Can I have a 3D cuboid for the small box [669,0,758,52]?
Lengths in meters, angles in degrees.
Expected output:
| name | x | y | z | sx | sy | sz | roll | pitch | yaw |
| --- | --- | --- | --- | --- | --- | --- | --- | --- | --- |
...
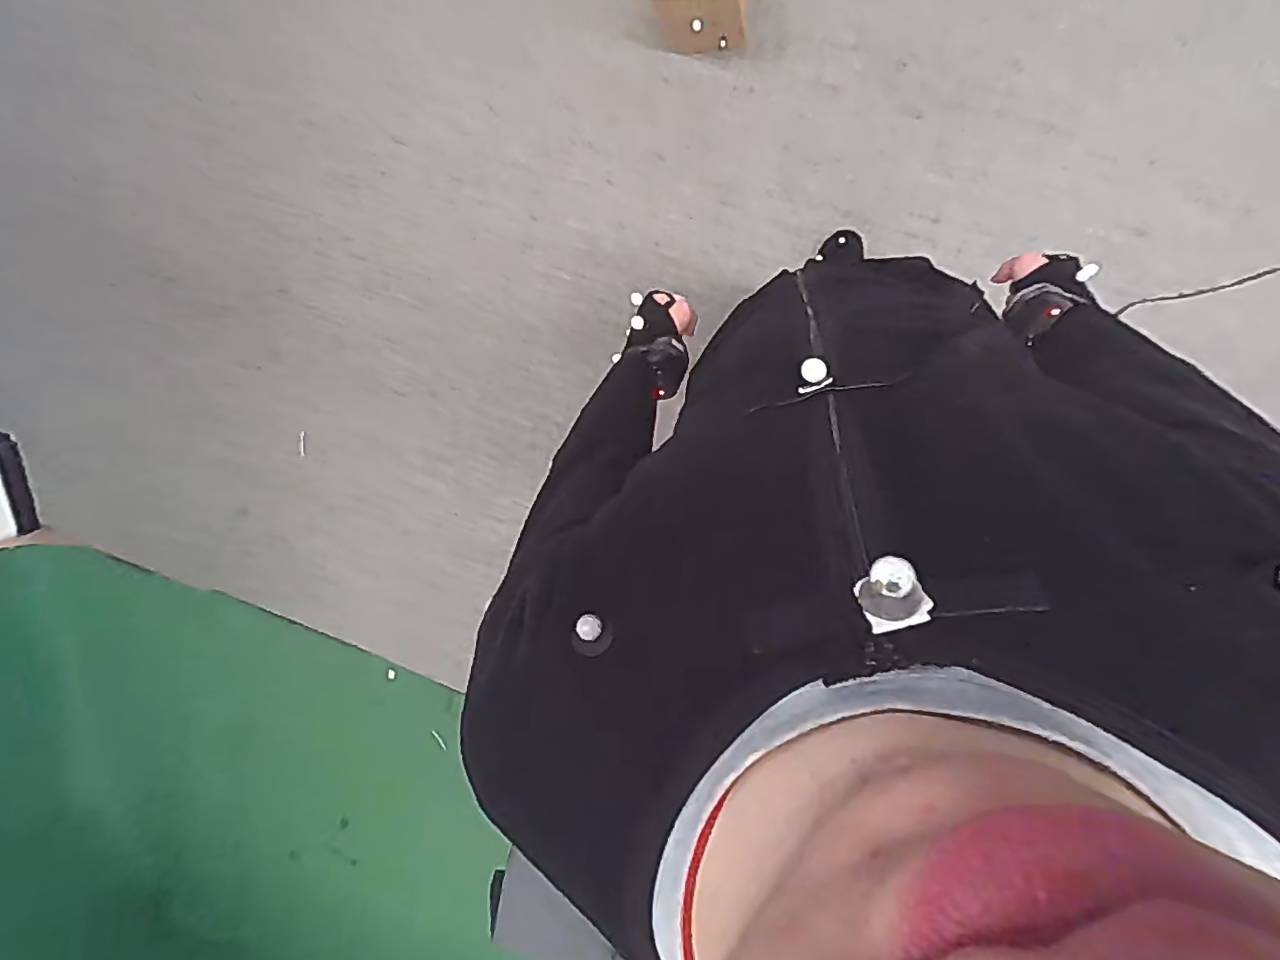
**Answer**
| name | x | y | z | sx | sy | sz | roll | pitch | yaw |
| --- | --- | --- | --- | --- | --- | --- | --- | --- | --- |
| small box | 0.160 | -1.021 | 1.125 | 0.168 | 0.176 | 0.179 | 7 | 113 | 12 |
